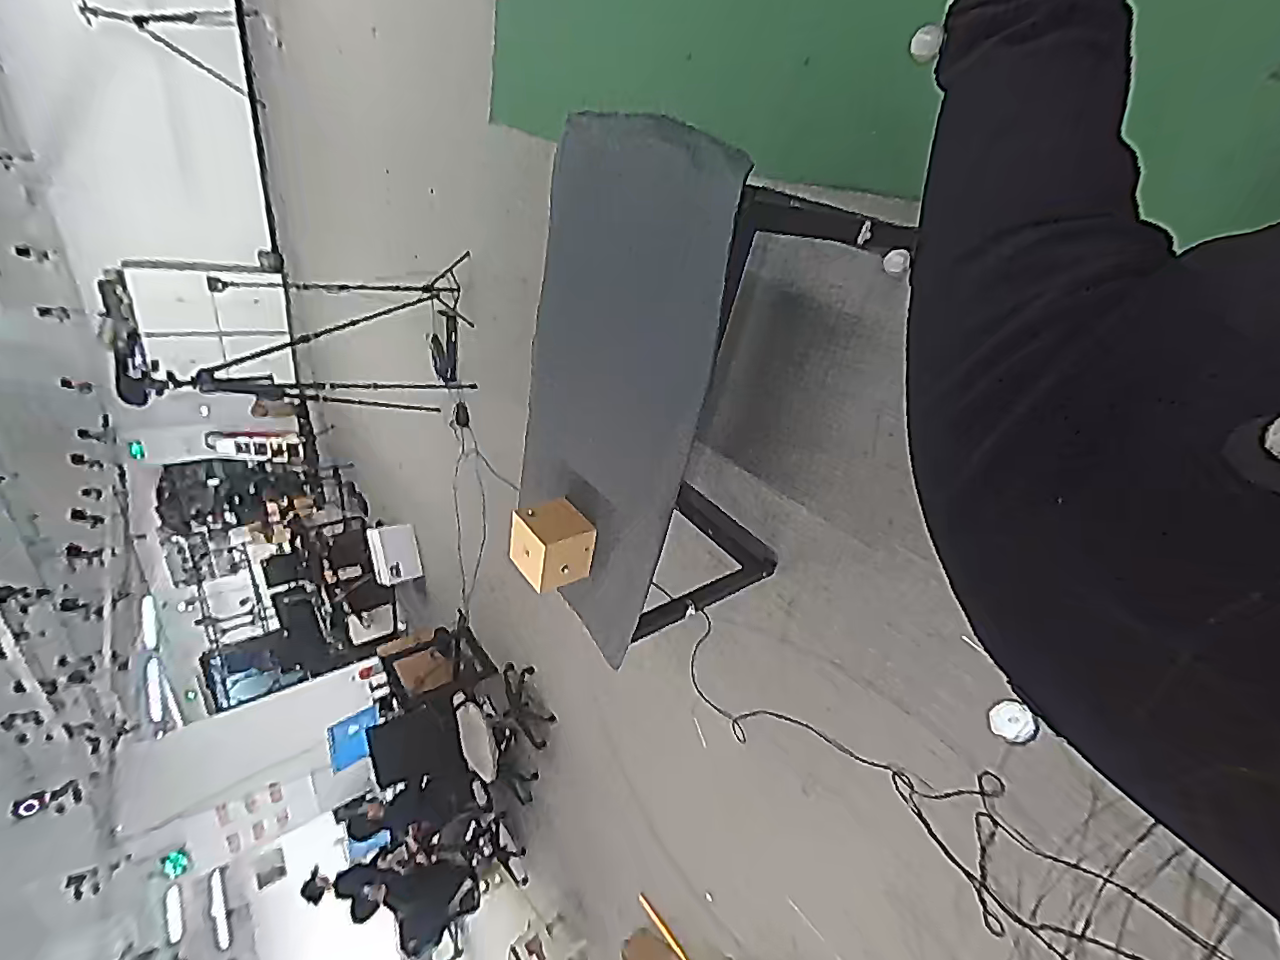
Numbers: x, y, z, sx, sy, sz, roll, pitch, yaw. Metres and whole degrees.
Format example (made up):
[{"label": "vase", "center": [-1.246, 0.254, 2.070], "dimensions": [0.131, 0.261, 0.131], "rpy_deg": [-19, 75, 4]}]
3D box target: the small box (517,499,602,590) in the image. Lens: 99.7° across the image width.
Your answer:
[{"label": "small box", "center": [-0.224, 0.171, 1.505], "dimensions": [0.179, 0.176, 0.168], "rpy_deg": [39, 130, 39]}]
